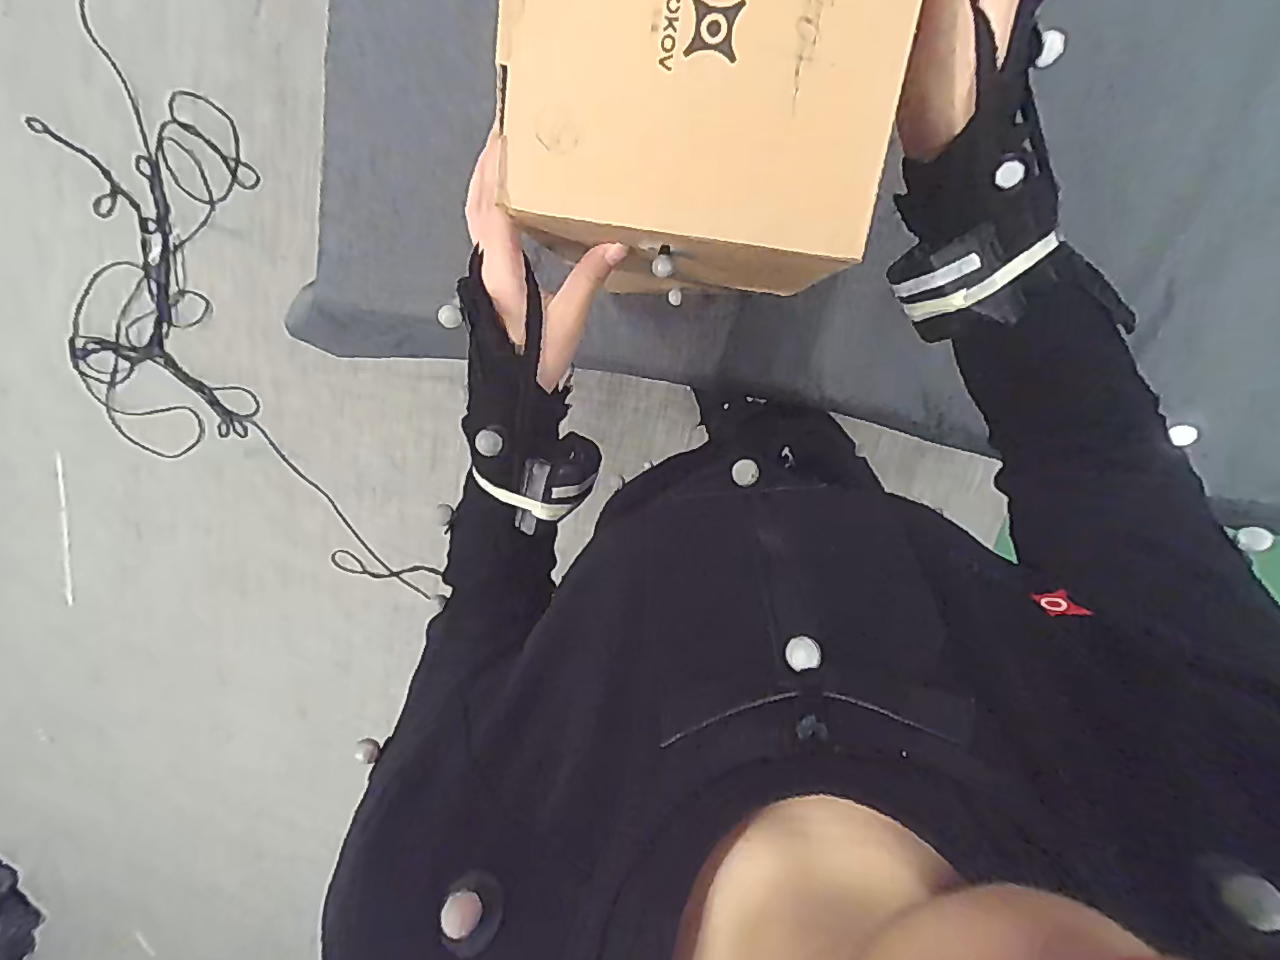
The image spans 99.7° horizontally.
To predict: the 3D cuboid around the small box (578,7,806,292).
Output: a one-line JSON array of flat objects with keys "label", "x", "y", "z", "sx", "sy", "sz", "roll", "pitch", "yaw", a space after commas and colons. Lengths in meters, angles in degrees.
[{"label": "small box", "x": 0.041, "y": -0.274, "z": 0.487, "sx": 0.168, "sy": 0.176, "sz": 0.179, "roll": 3, "pitch": 104, "yaw": 5}]
